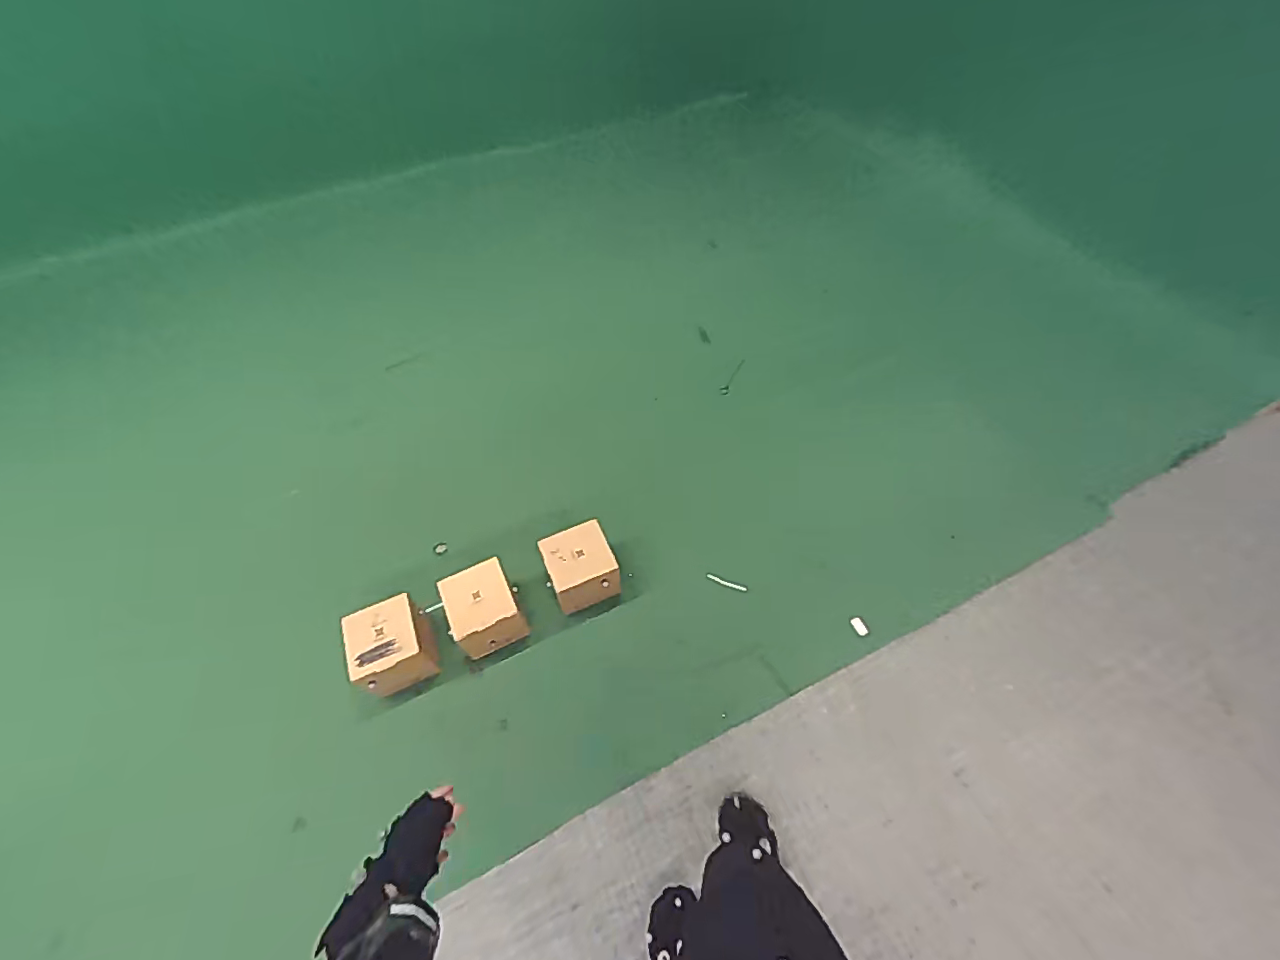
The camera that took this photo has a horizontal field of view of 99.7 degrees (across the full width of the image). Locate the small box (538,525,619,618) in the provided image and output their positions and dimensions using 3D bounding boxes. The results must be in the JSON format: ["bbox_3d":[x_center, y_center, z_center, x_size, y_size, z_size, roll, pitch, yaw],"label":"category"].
[{"bbox_3d":[-0.166,0.257,1.505,0.179,0.176,0.168,-20,58,-13],"label":"small box"}]

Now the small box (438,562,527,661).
[{"bbox_3d":[-0.417,0.354,1.446,0.168,0.176,0.179,-23,59,-14],"label":"small box"}]
